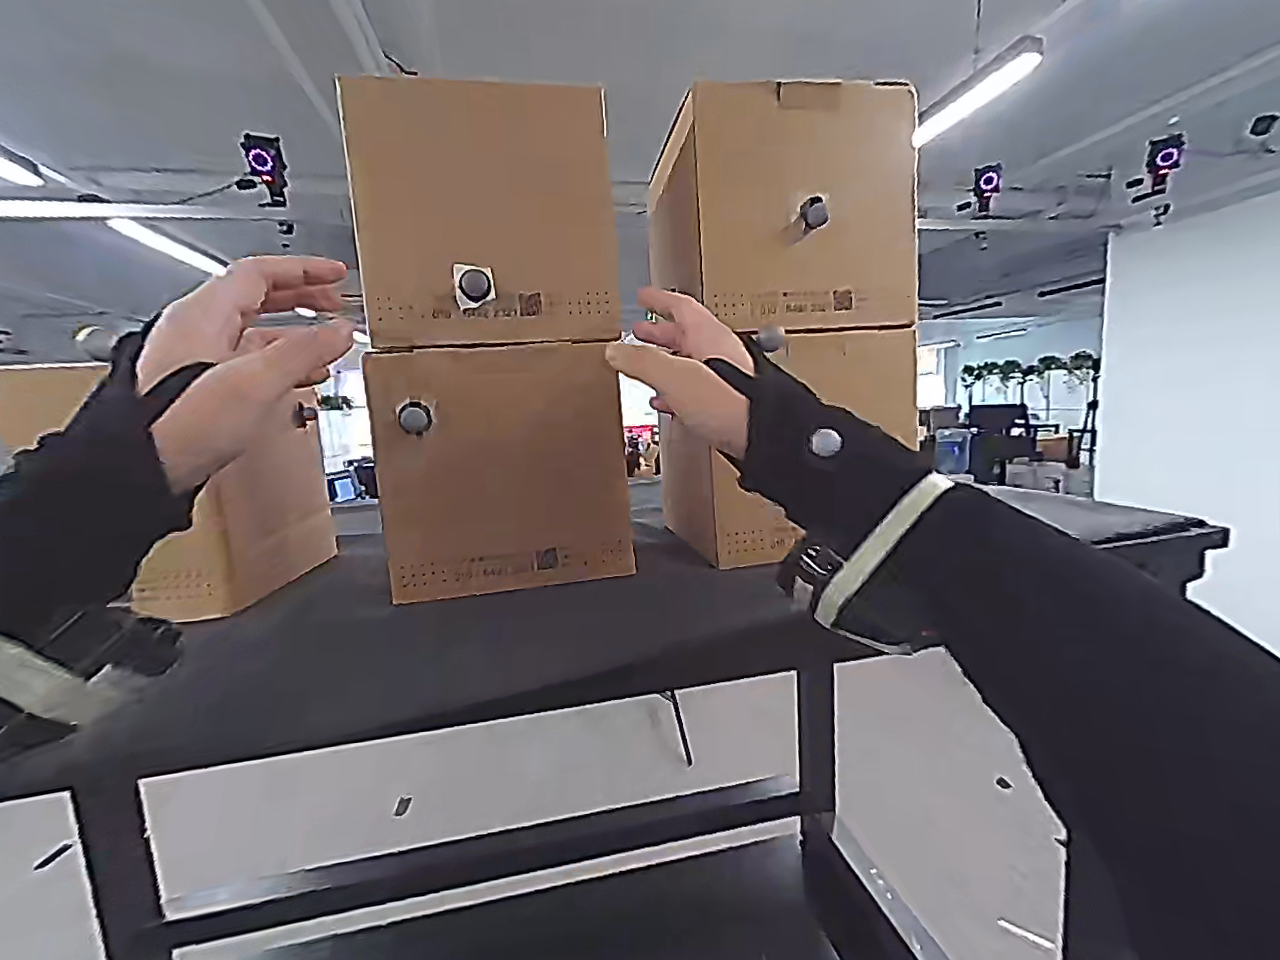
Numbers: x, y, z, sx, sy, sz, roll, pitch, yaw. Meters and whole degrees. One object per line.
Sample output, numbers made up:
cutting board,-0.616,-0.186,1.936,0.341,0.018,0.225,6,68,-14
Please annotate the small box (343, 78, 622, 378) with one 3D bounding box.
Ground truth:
small box,-0.113,-0.175,0.432,0.168,0.176,0.179,-6,7,-11

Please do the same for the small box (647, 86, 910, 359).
small box,0.104,-0.196,0.460,0.168,0.176,0.179,-5,8,-9

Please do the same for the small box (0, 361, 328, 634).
small box,-0.360,0.009,0.409,0.168,0.176,0.179,-4,6,-8

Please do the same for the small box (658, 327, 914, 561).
small box,0.114,-0.033,0.479,0.168,0.176,0.179,-6,7,-9
